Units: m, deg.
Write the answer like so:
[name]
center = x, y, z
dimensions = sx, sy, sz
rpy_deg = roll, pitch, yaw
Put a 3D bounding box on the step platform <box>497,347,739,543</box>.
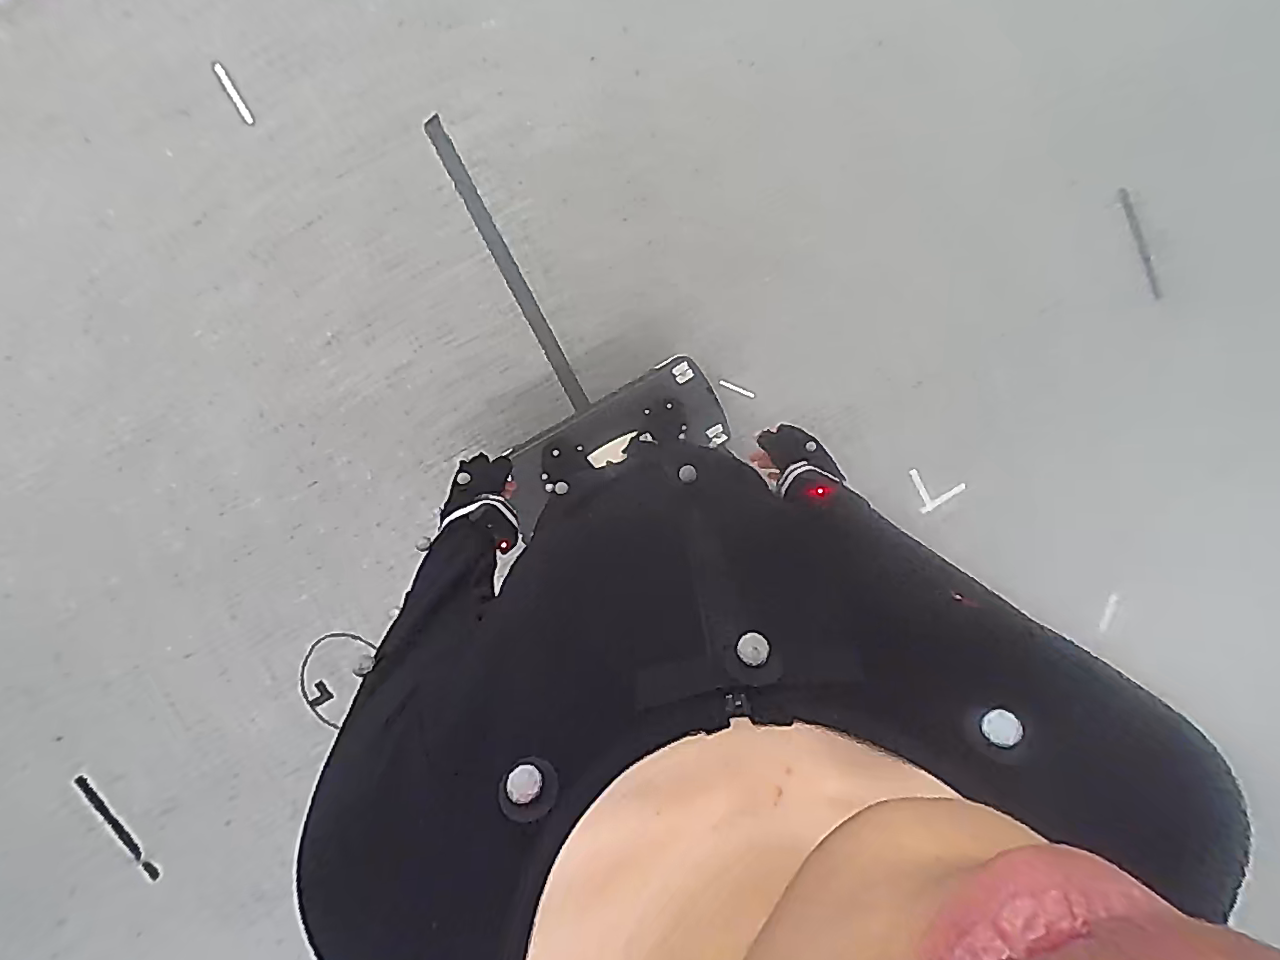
[step platform]
center = -0.063, -0.103, 1.557
dimensions = 0.684, 0.204, 0.286
rpy_deg = -31, 100, -2
